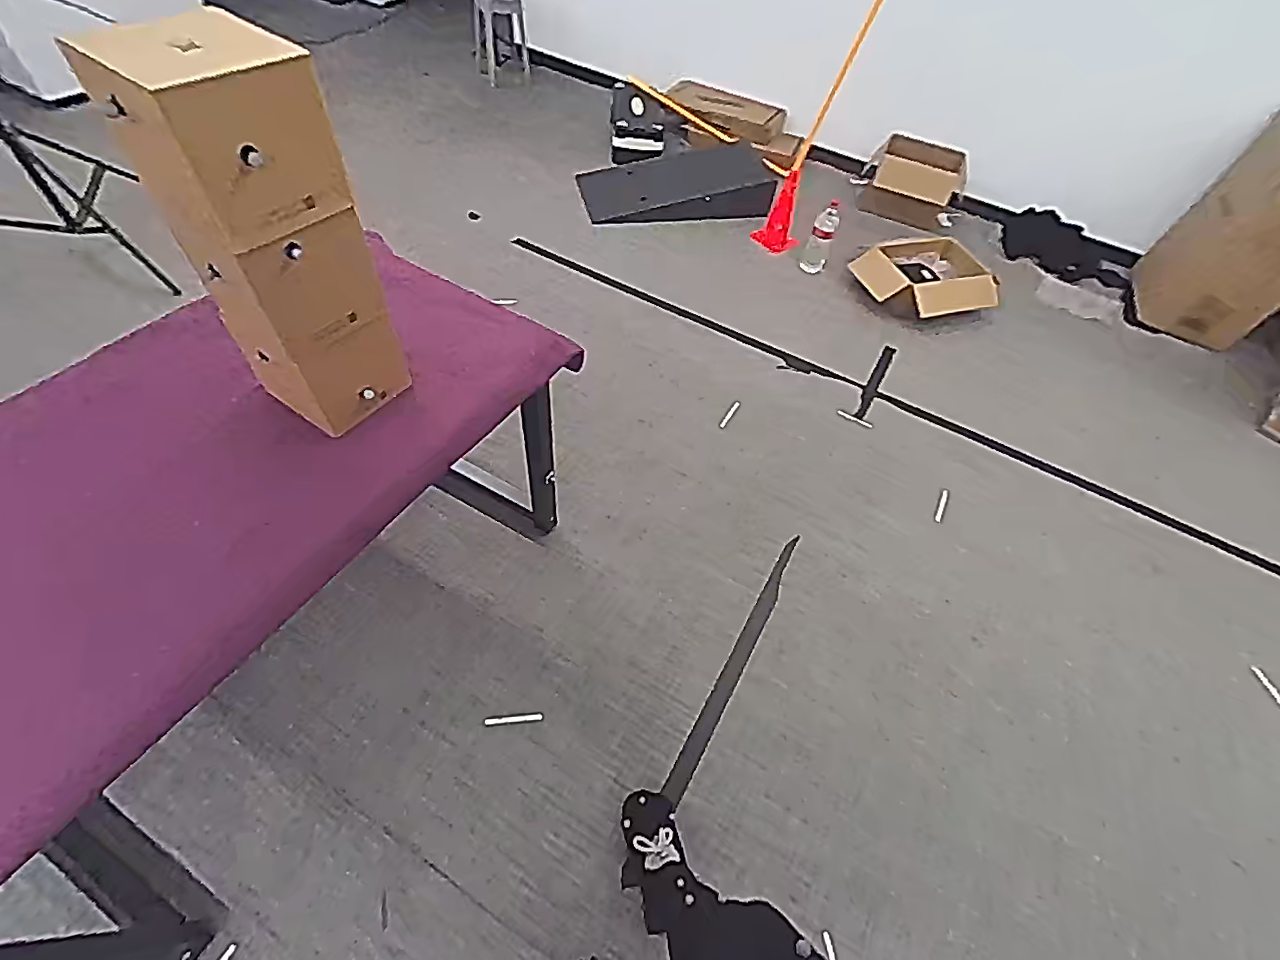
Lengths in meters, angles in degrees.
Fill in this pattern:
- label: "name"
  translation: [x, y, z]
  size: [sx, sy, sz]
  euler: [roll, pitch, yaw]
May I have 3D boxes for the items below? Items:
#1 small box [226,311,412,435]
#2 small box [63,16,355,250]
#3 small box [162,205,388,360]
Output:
- label: "small box"
  translation: [-0.513, -0.204, 0.889]
  size: [0.179, 0.176, 0.168]
  euler: [31, 57, 15]
- label: "small box"
  translation: [-0.471, -0.392, 0.624]
  size: [0.179, 0.176, 0.168]
  euler: [32, 57, 16]
- label: "small box"
  translation: [-0.493, -0.299, 0.757]
  size: [0.179, 0.176, 0.168]
  euler: [32, 57, 17]
